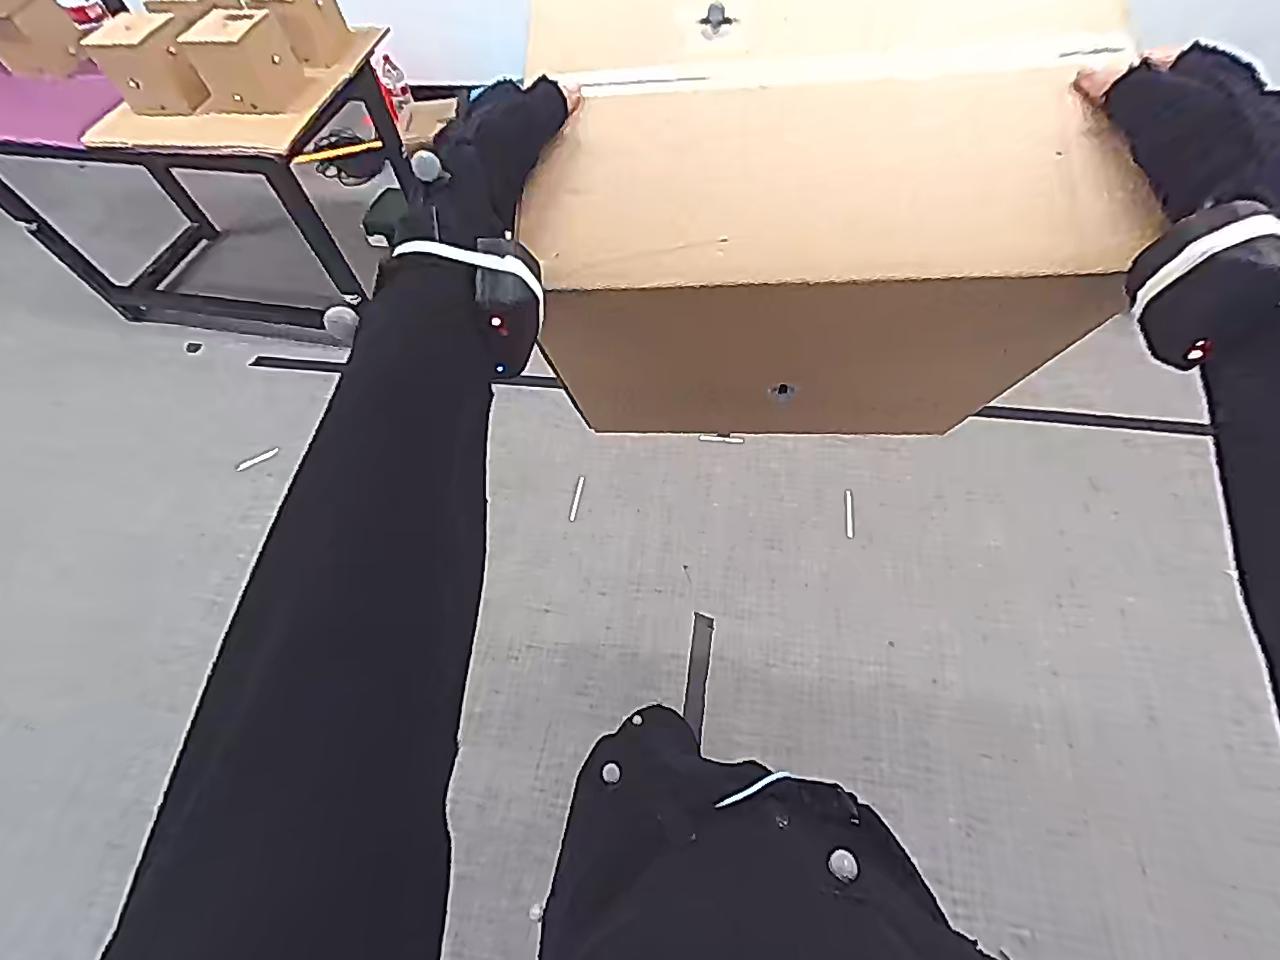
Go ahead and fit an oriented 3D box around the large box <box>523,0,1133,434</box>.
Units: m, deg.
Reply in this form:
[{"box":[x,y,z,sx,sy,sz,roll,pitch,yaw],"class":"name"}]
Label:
[{"box":[0.135,-0.237,0.537,0.408,0.320,0.320,0,75,7],"class":"large box"}]
